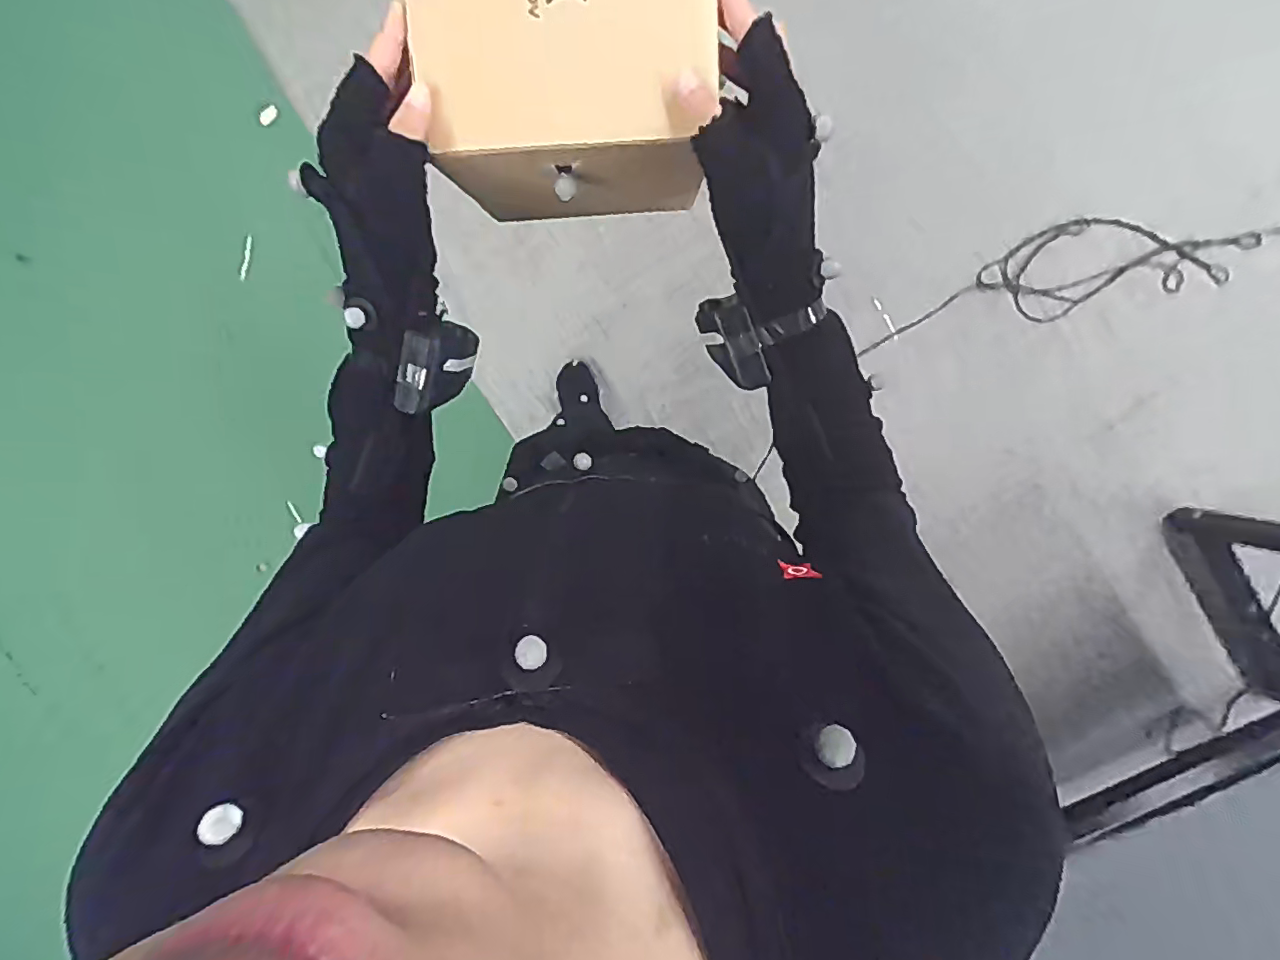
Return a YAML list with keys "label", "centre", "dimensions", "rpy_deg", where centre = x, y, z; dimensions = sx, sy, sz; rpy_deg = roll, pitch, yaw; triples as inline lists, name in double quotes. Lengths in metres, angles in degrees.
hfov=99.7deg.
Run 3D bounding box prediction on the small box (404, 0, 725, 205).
- label: "small box"
  centre: [-0.041, -0.296, 0.365]
  dimensions: [0.179, 0.176, 0.168]
  rpy_deg: [-2, 104, 2]
